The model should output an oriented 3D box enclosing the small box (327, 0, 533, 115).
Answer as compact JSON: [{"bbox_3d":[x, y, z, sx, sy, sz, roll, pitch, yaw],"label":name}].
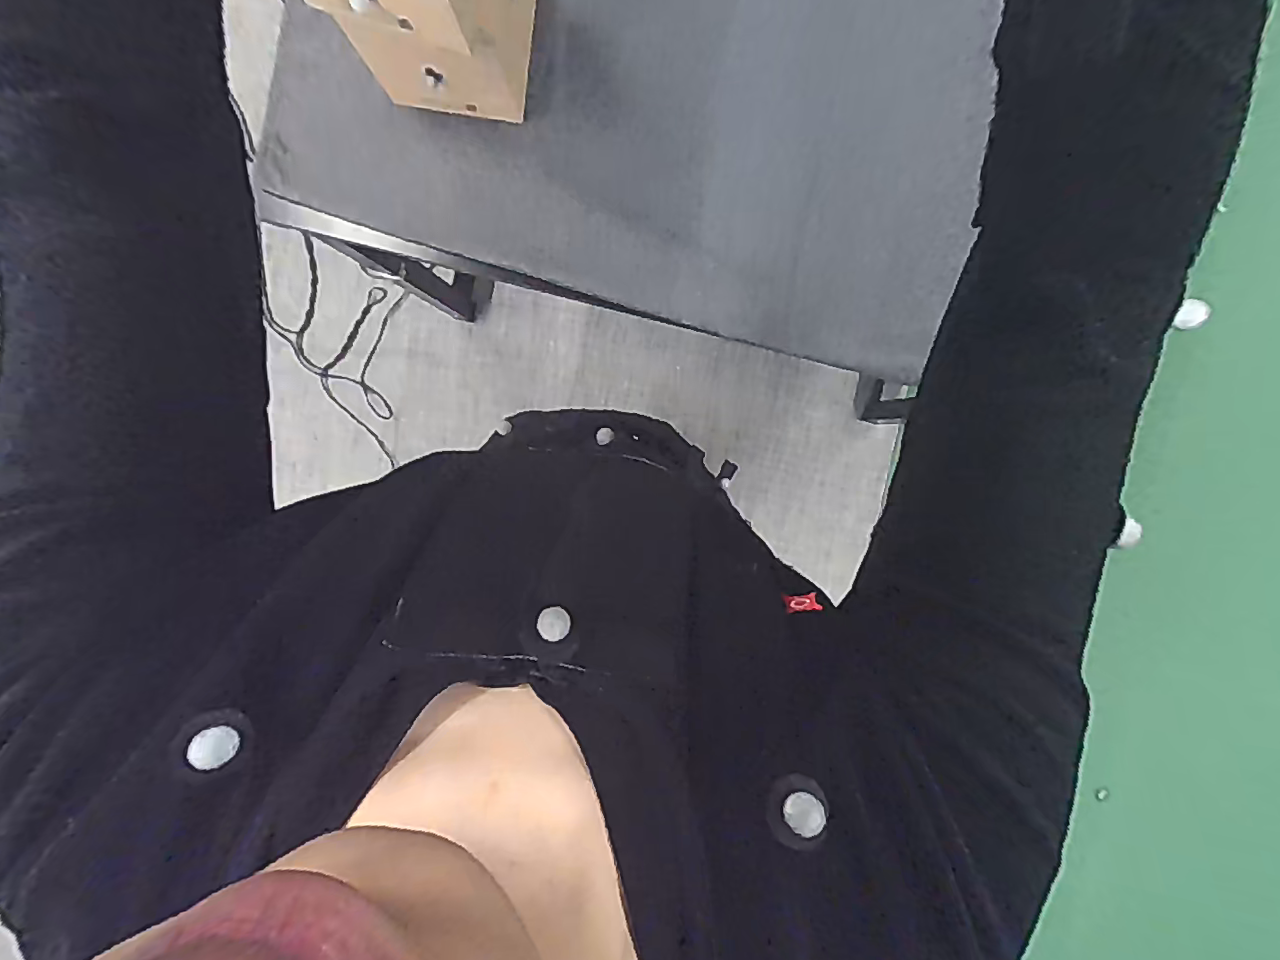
[{"bbox_3d":[-0.219,-0.547,0.600,0.168,0.176,0.179,7,95,-3],"label":"small box"}]

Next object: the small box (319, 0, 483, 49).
[{"bbox_3d":[-0.216,-0.515,0.438,0.168,0.176,0.179,15,96,-3],"label":"small box"}]
